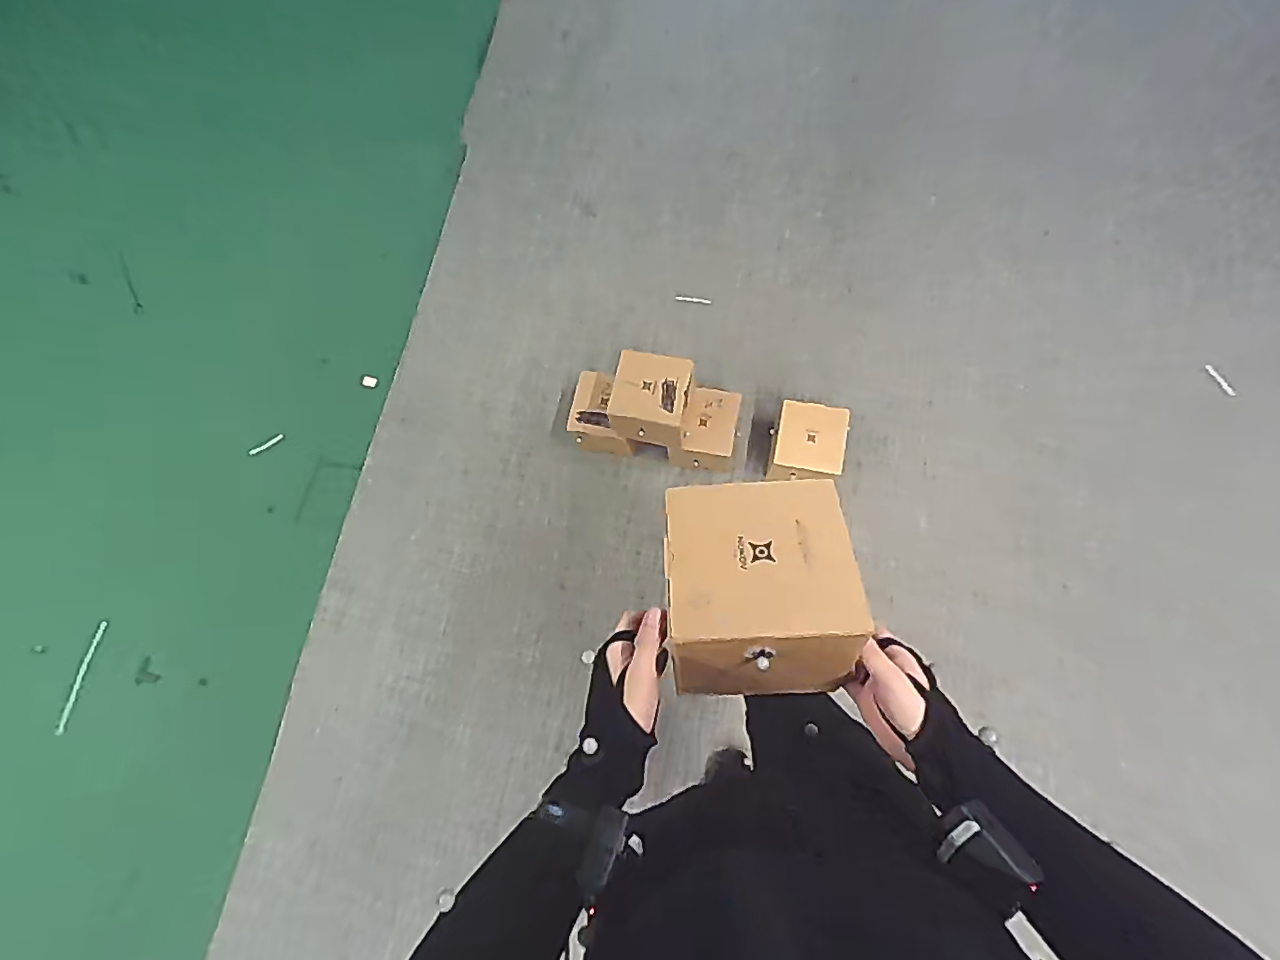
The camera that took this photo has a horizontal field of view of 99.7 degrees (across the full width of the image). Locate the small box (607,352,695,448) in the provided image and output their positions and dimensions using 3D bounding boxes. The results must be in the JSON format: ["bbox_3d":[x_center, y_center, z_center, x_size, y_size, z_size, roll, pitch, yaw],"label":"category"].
[{"bbox_3d":[0.033,-0.188,1.320,0.179,0.176,0.168,11,77,9],"label":"small box"}]

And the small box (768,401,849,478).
[{"bbox_3d":[0.436,-0.087,1.423,0.168,0.176,0.179,10,77,9],"label":"small box"}]

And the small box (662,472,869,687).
[{"bbox_3d":[0.120,0.112,0.573,0.179,0.176,0.168,-5,52,6],"label":"small box"}]
